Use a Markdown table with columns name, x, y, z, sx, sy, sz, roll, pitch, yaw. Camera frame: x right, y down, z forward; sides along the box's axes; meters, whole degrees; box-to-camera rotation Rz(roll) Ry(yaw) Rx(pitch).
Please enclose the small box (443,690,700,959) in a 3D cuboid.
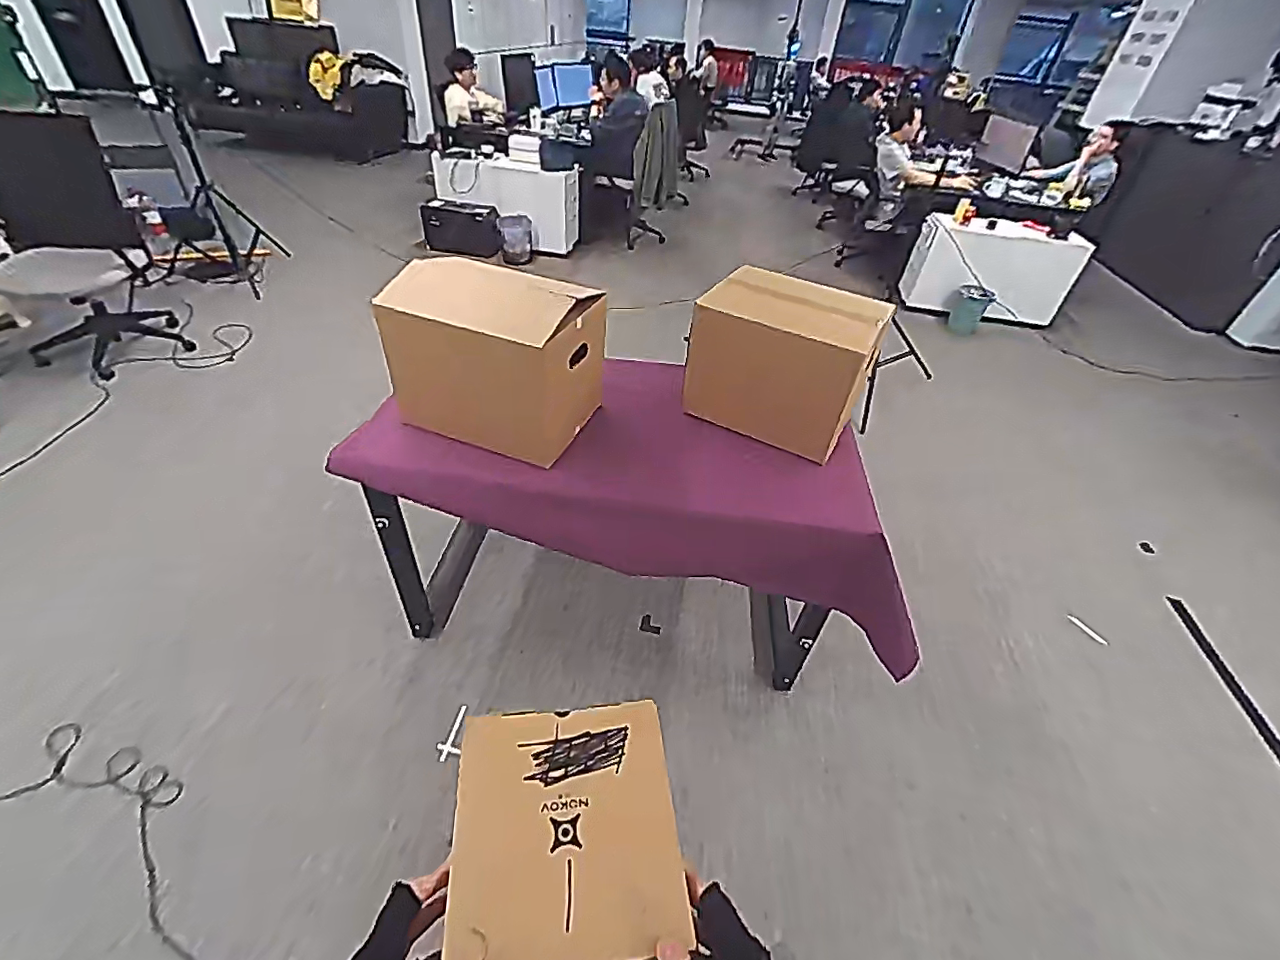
| name | x | y | z | sx | sy | sz | roll | pitch | yaw |
| --- | --- | --- | --- | --- | --- | --- | --- | --- | --- |
| small box | -0.059 | 0.304 | 0.453 | 0.168 | 0.176 | 0.179 | -2 | 41 | -10 |
